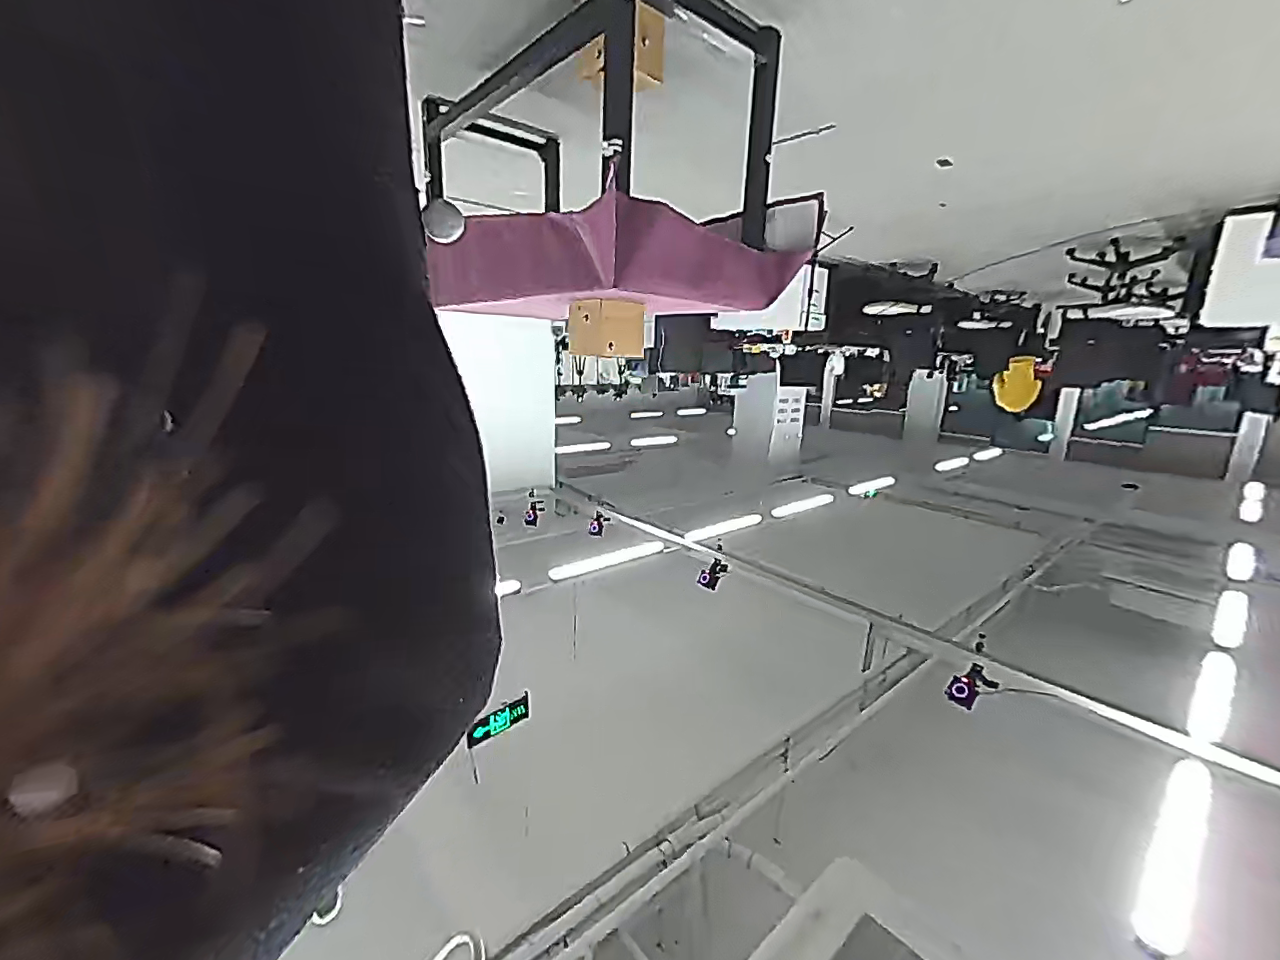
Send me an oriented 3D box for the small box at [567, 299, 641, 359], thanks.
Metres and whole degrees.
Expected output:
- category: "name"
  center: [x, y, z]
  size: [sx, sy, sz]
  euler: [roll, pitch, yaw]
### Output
- category: "small box"
  center: [-0.108, -0.464, 1.665]
  size: [0.179, 0.176, 0.168]
  euler: [-9, -163, -40]
